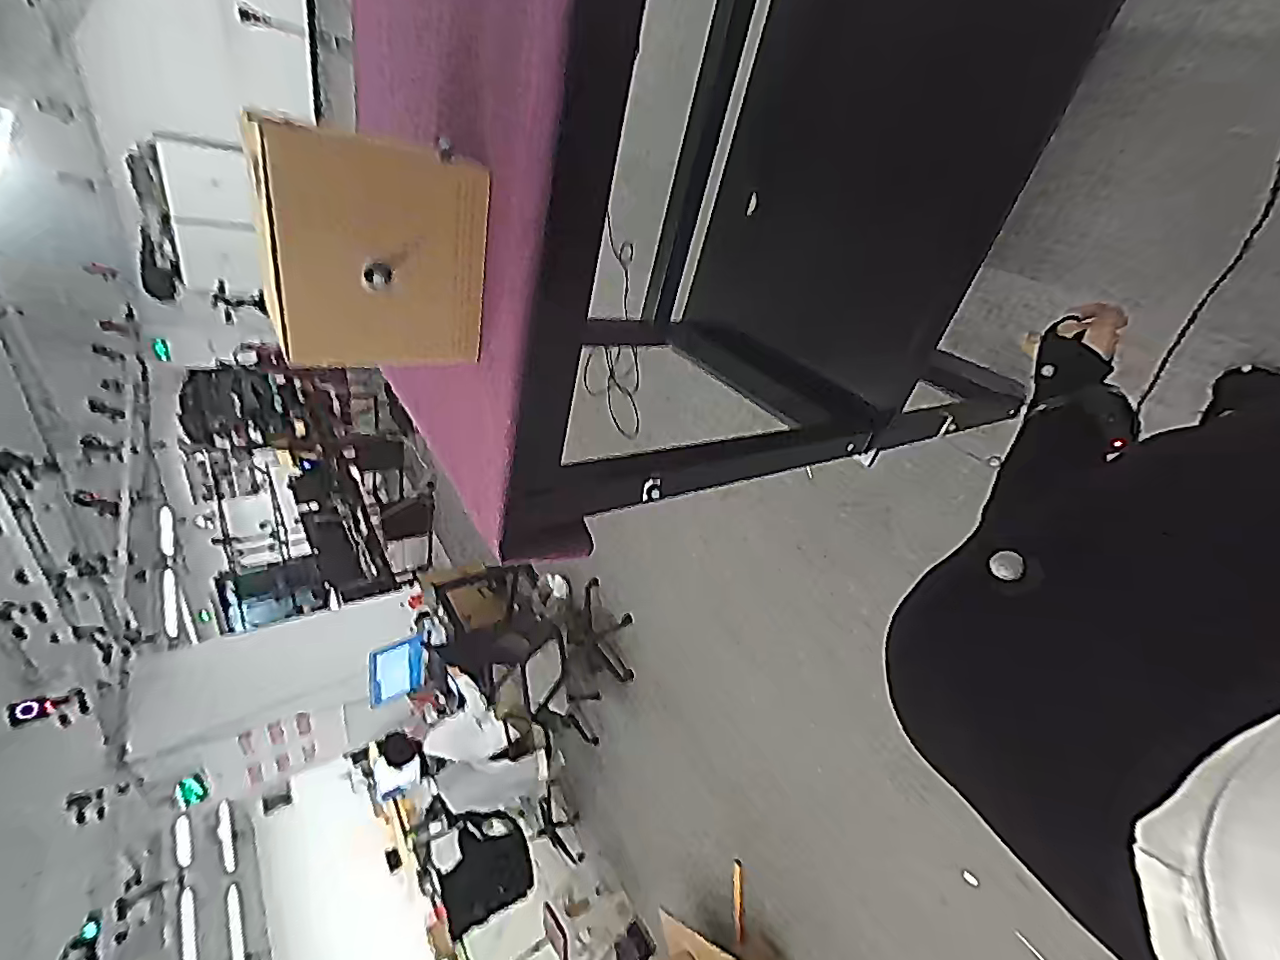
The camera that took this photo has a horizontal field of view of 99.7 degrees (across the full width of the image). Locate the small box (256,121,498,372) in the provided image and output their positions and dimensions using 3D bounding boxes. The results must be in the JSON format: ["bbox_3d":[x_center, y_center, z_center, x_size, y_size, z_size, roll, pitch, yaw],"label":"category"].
[{"bbox_3d":[-0.247,-0.219,0.520,0.168,0.176,0.179,43,132,41],"label":"small box"}]
